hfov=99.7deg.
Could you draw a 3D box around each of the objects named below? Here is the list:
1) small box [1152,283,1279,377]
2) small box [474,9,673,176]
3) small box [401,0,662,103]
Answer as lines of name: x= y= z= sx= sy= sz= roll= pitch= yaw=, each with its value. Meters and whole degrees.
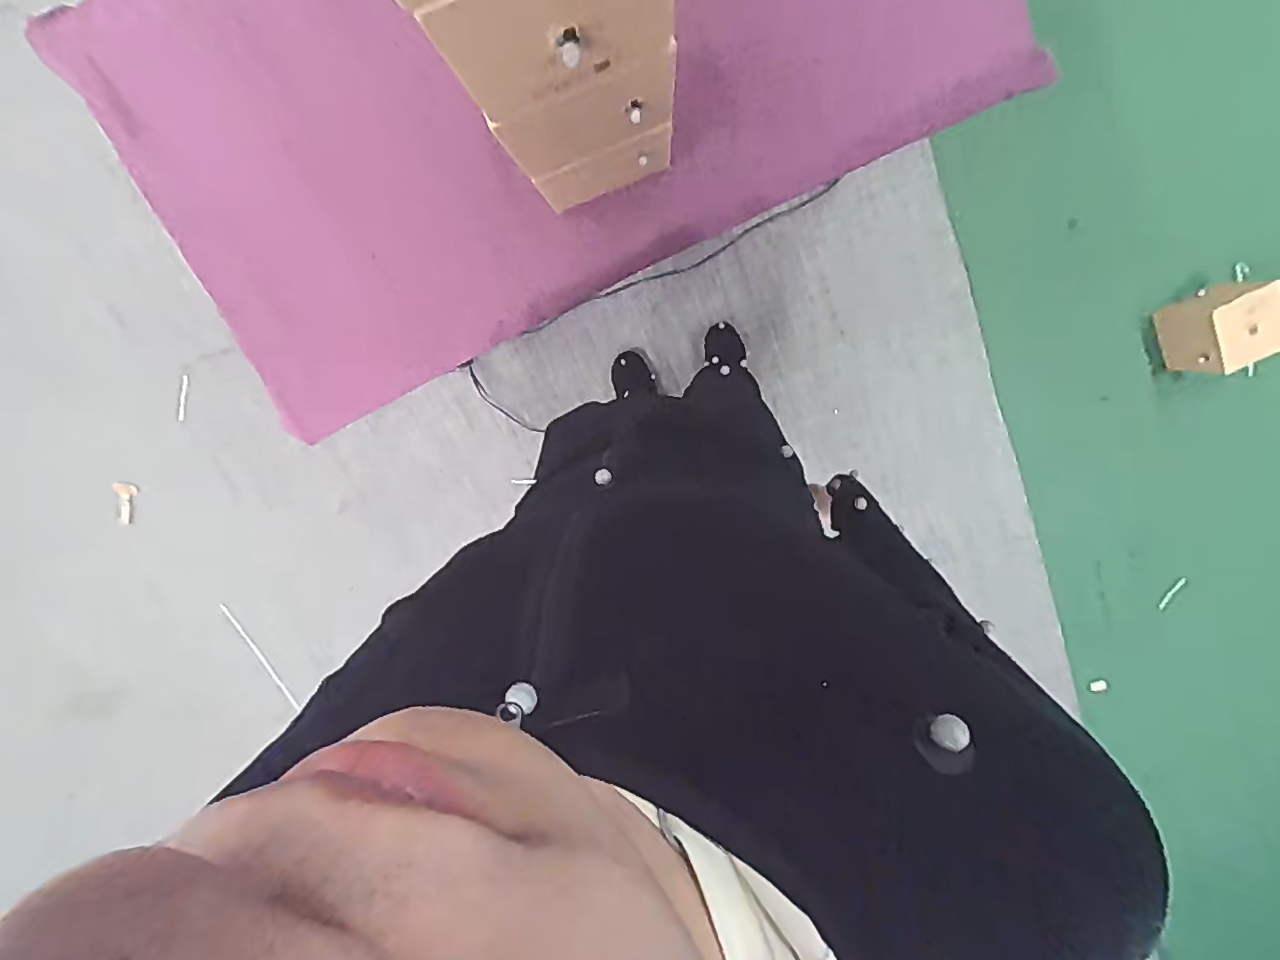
small box: x=1.492 y=-0.387 z=1.396 sx=0.168 sy=0.176 sz=0.179 roll=-26 pitch=103 yaw=9
small box: x=-0.078 y=-0.428 z=0.521 sx=0.179 sy=0.176 sz=0.168 roll=-19 pitch=103 yaw=7
small box: x=-0.085 y=-0.392 z=0.362 sx=0.168 sy=0.176 sz=0.179 roll=-19 pitch=104 yaw=6
